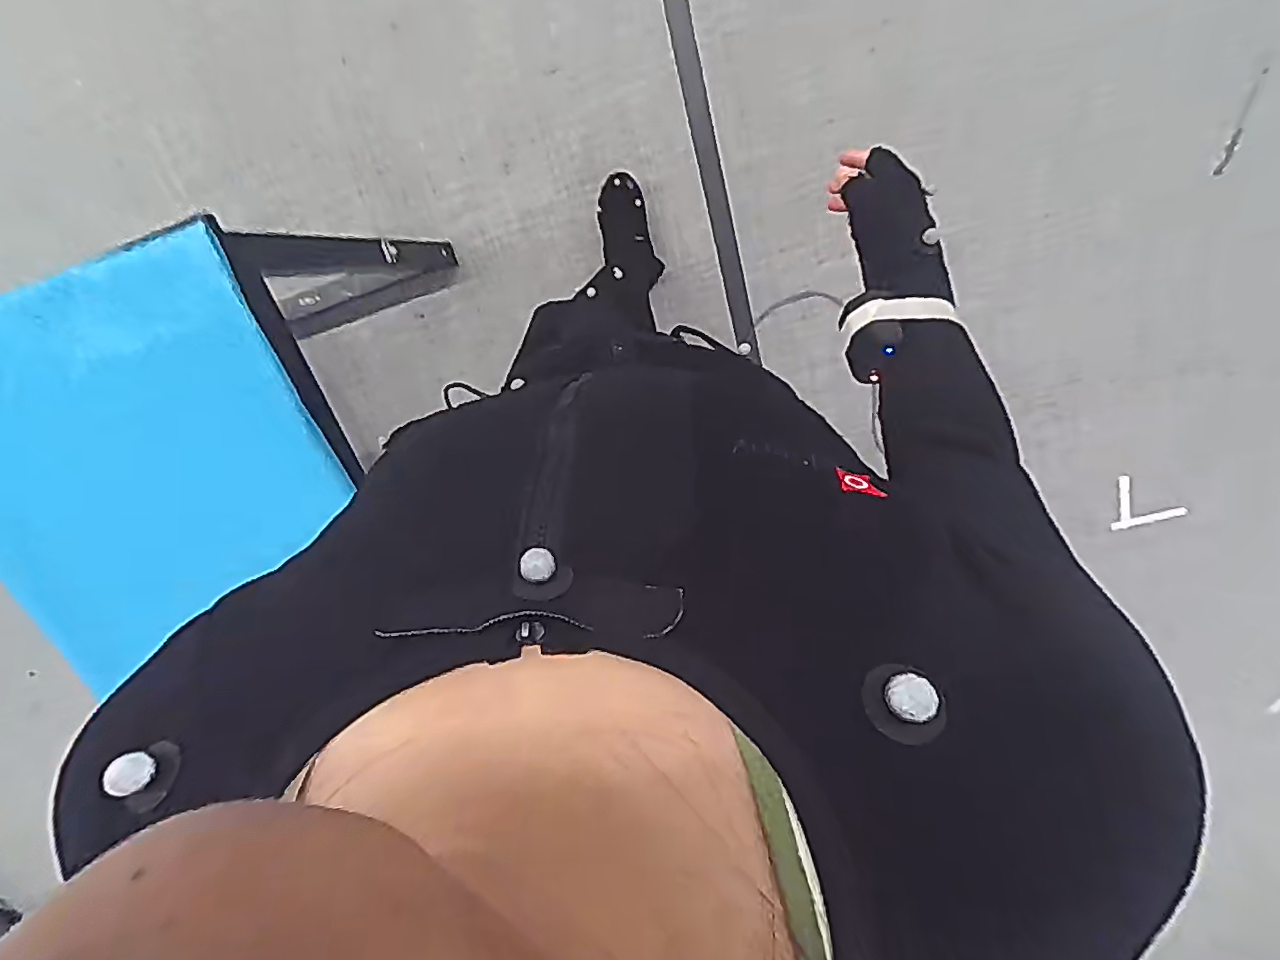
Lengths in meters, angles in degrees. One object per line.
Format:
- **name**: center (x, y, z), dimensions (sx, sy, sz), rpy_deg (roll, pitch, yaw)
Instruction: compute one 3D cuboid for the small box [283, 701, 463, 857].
- **small box**: center (-0.426, 0.494, 0.886), dimensions (0.179, 0.176, 0.168), rpy_deg (-10, 110, 9)
